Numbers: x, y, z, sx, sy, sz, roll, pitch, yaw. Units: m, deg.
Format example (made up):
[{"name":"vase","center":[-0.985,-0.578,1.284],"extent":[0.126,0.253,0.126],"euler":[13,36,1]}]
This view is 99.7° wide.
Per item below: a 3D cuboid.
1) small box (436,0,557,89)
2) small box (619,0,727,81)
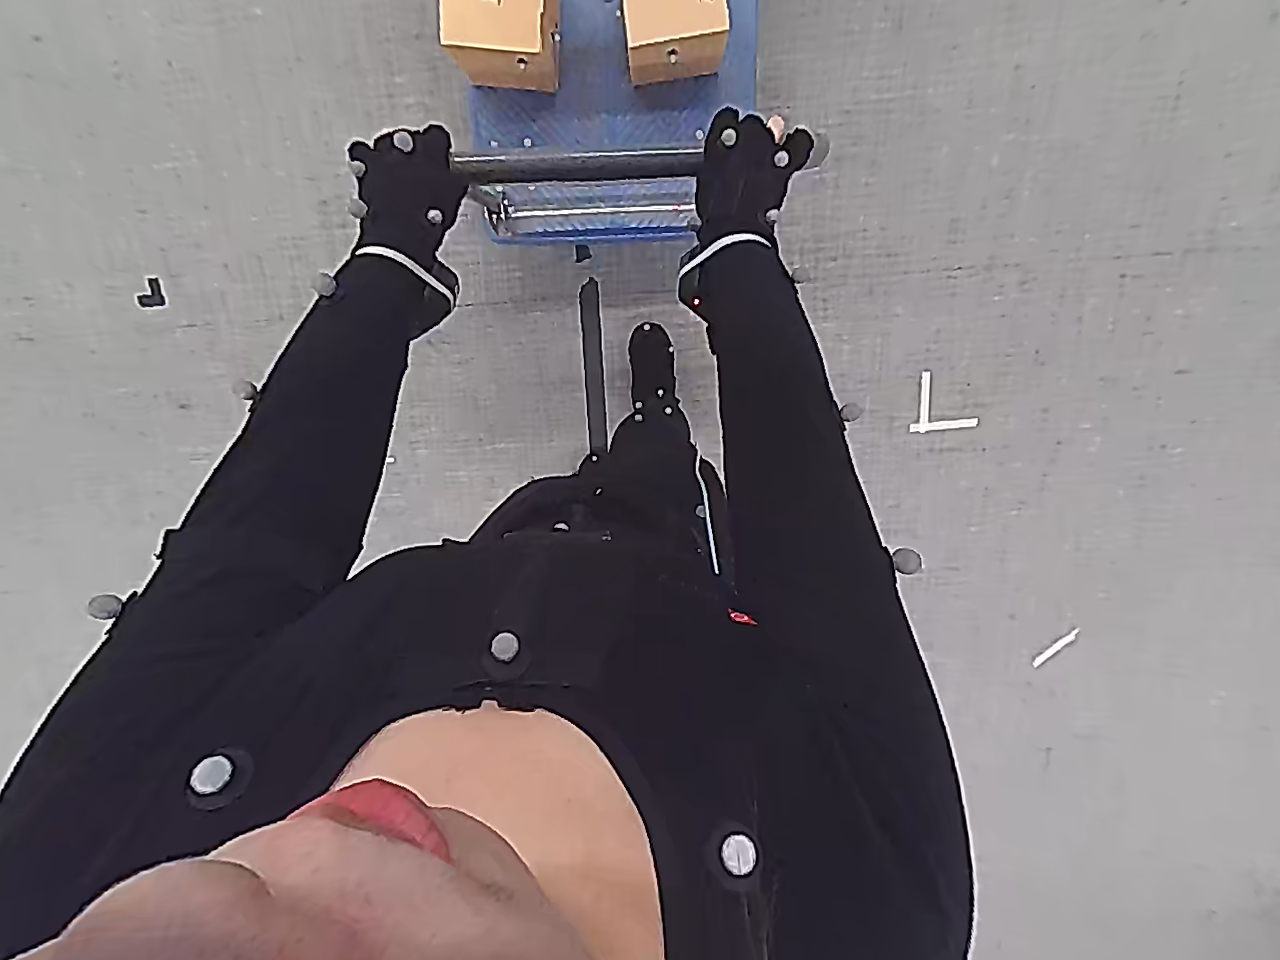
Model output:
[{"name":"small box","center":[-0.251,-0.832,0.969],"extent":[0.179,0.176,0.168],"euler":[4,107,-2]},{"name":"small box","center":[0.053,-0.841,0.958],"extent":[0.179,0.176,0.168],"euler":[-7,107,4]}]
